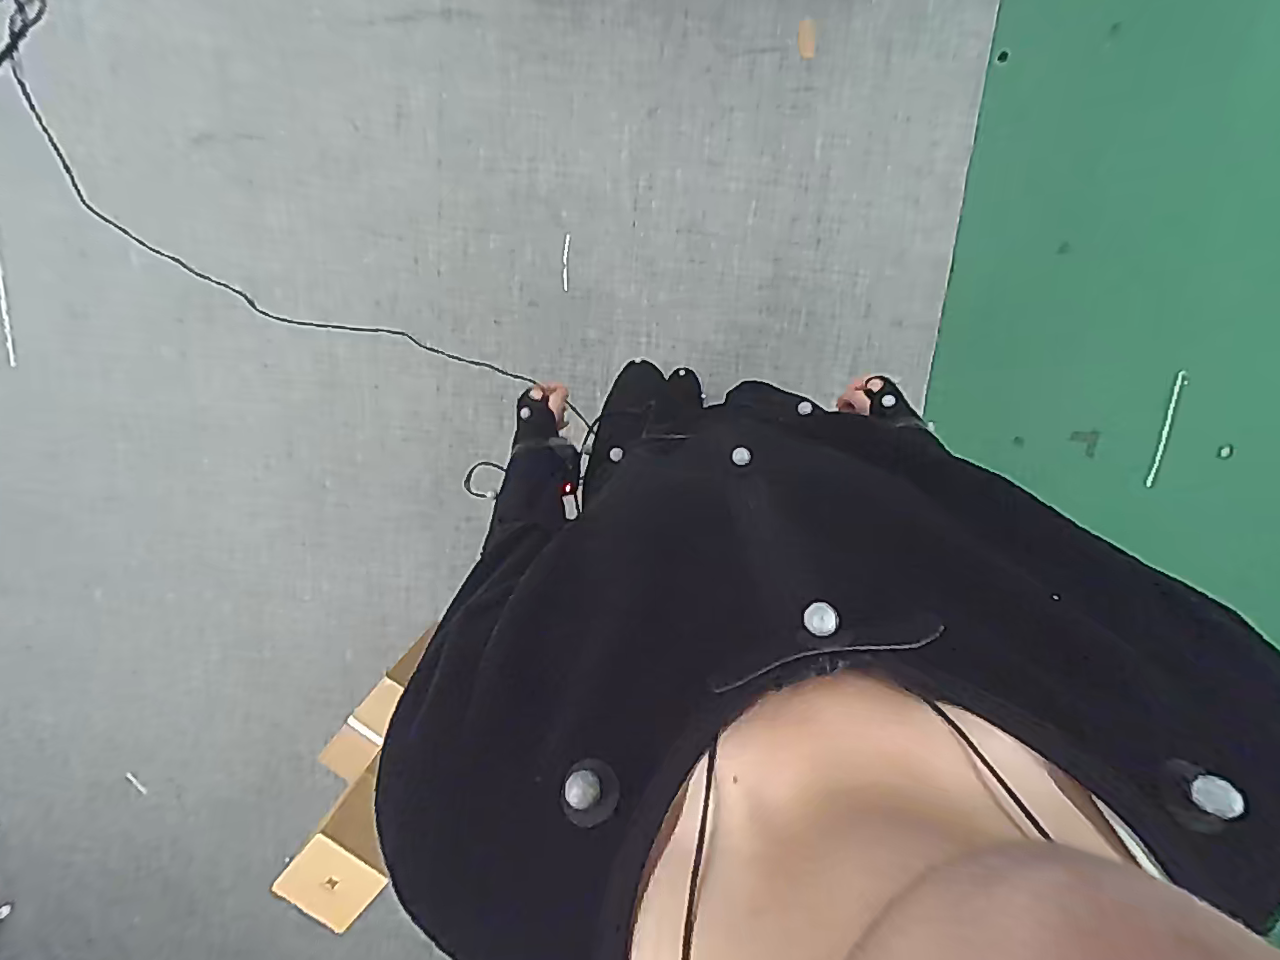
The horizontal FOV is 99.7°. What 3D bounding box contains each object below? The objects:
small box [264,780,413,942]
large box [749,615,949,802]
[{"bbox_3d":[-0.591,0.755,1.089,0.168,0.176,0.179,39,100,-5],"label":"small box"},{"bbox_3d":[0.536,0.591,1.449,0.408,0.320,0.320,-9,101,2],"label":"large box"}]
